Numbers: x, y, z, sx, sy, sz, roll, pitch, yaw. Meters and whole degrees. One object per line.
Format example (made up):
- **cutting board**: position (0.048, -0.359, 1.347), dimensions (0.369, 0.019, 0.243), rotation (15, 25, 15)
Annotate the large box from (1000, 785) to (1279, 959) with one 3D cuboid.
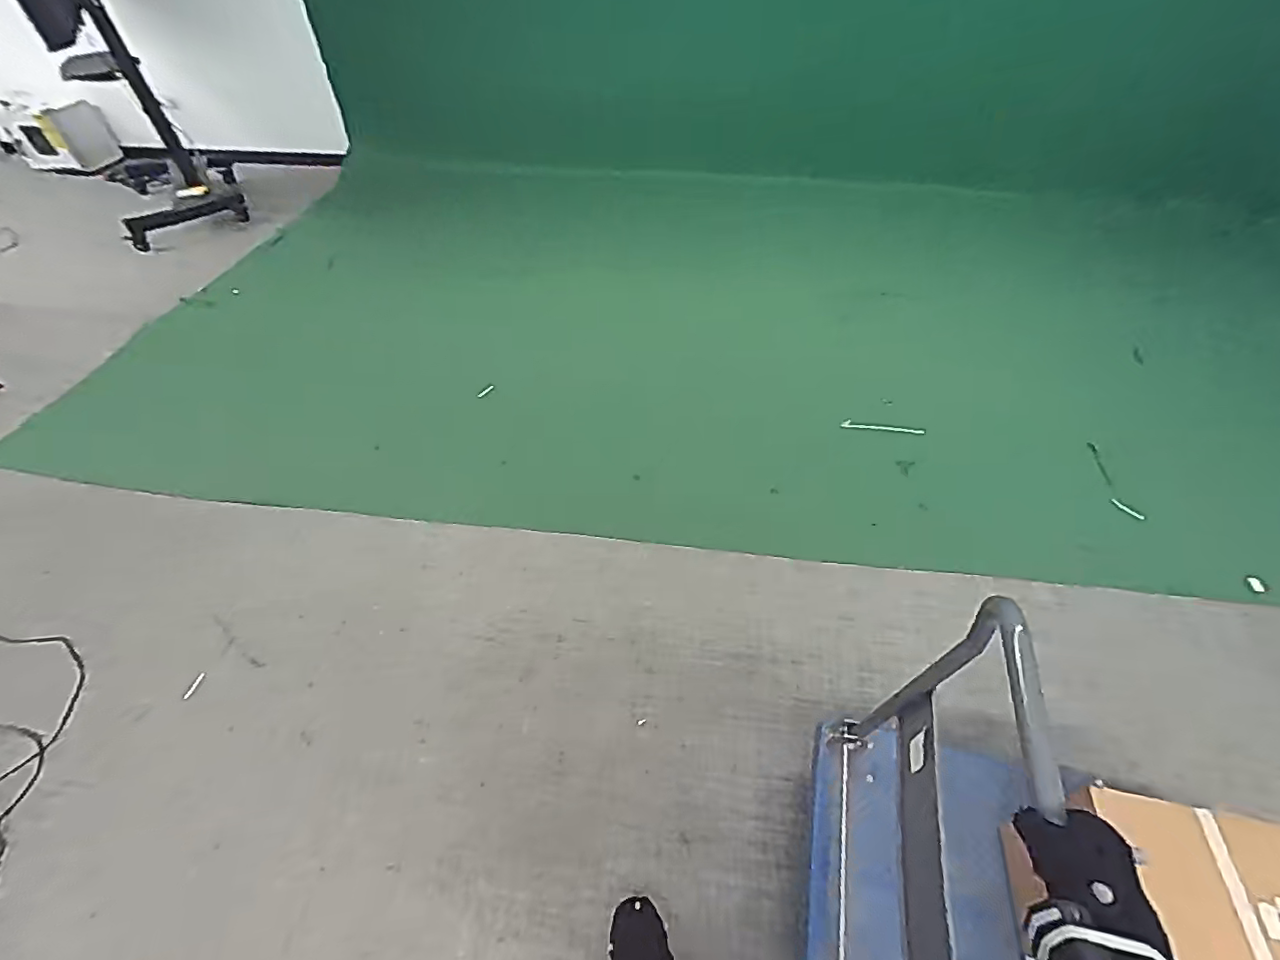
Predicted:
- **large box**: position (0.827, 0.757, 0.830), dimensions (0.320, 0.320, 0.408), rotation (9, 48, 8)
